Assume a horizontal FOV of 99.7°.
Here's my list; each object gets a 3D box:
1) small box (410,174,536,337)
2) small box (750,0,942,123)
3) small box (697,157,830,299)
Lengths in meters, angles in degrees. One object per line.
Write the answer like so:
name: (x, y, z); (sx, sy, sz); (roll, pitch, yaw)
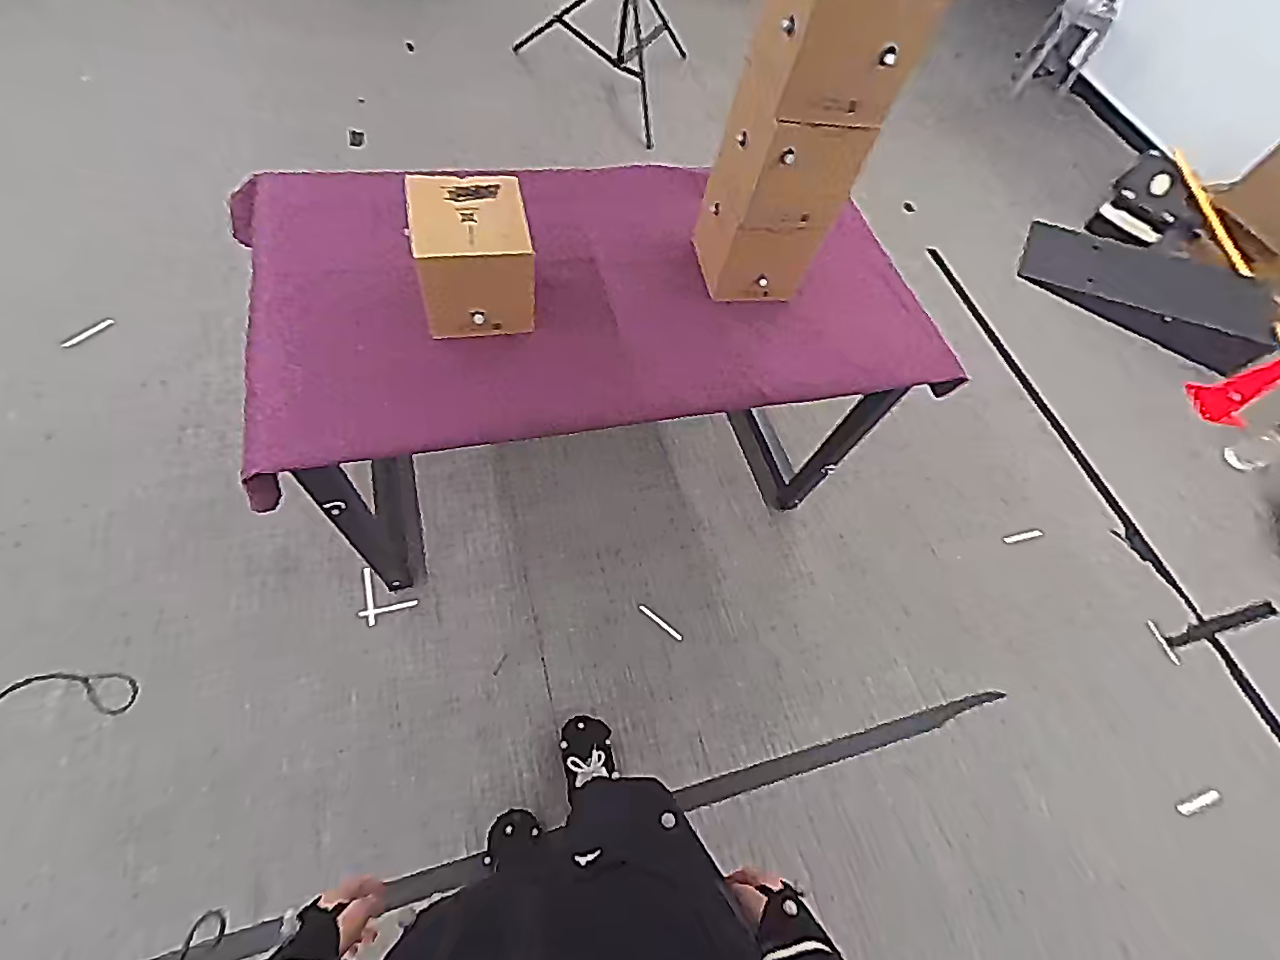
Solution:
small box: (-0.261, -0.352, 0.860); (0.168, 0.176, 0.179); (-9, 65, -14)
small box: (0.263, -0.604, 0.710); (0.168, 0.176, 0.179); (-3, 62, -12)
small box: (0.215, -0.460, 1.000); (0.168, 0.176, 0.179); (-5, 64, -12)
